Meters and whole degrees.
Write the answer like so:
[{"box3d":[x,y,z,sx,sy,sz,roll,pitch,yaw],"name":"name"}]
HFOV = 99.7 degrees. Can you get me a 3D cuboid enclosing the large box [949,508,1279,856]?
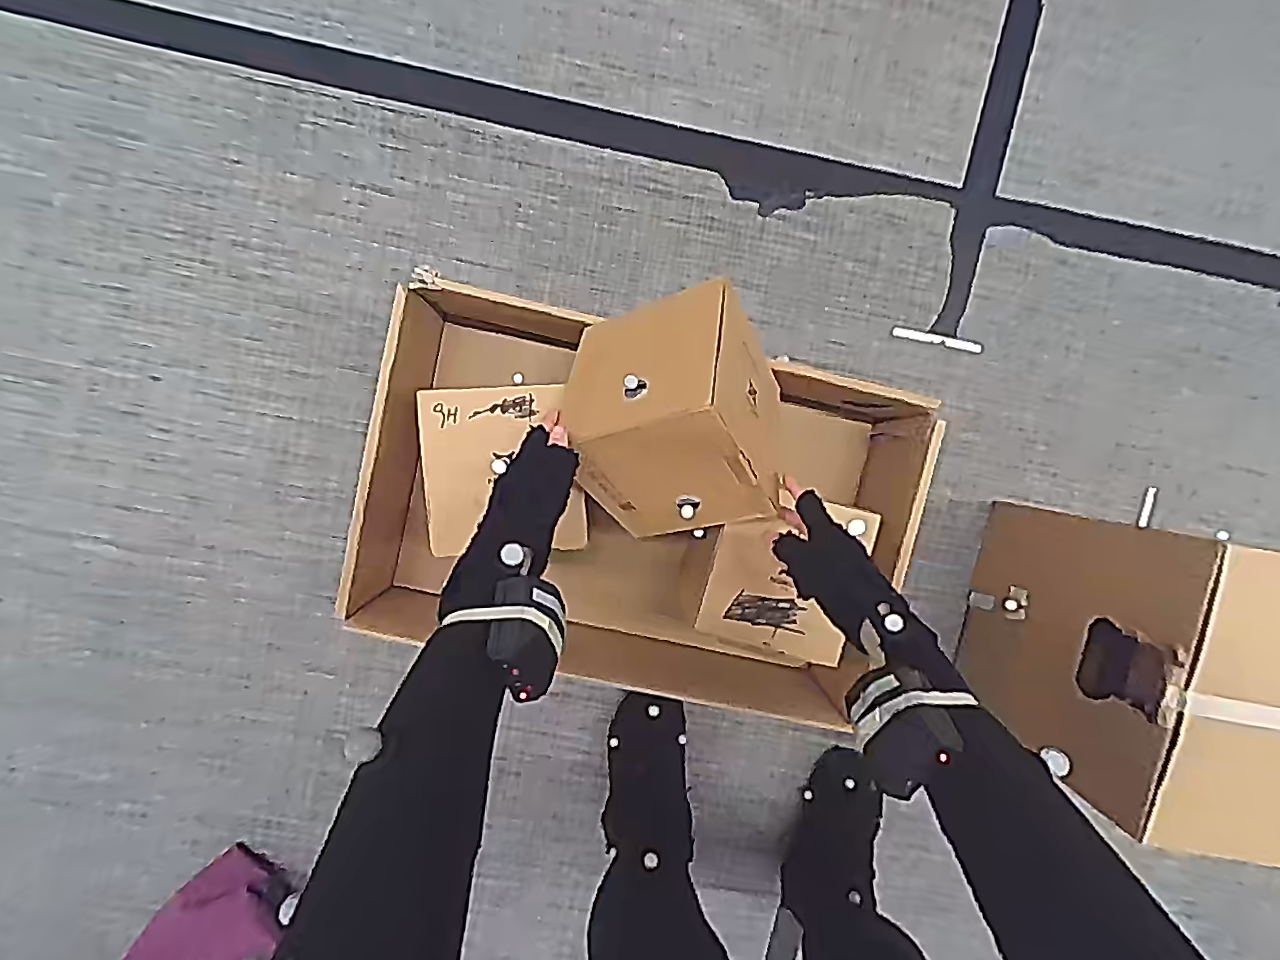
[{"box3d":[0.699,0.230,0.693,0.408,0.320,0.320,11,94,-5],"name":"large box"}]
